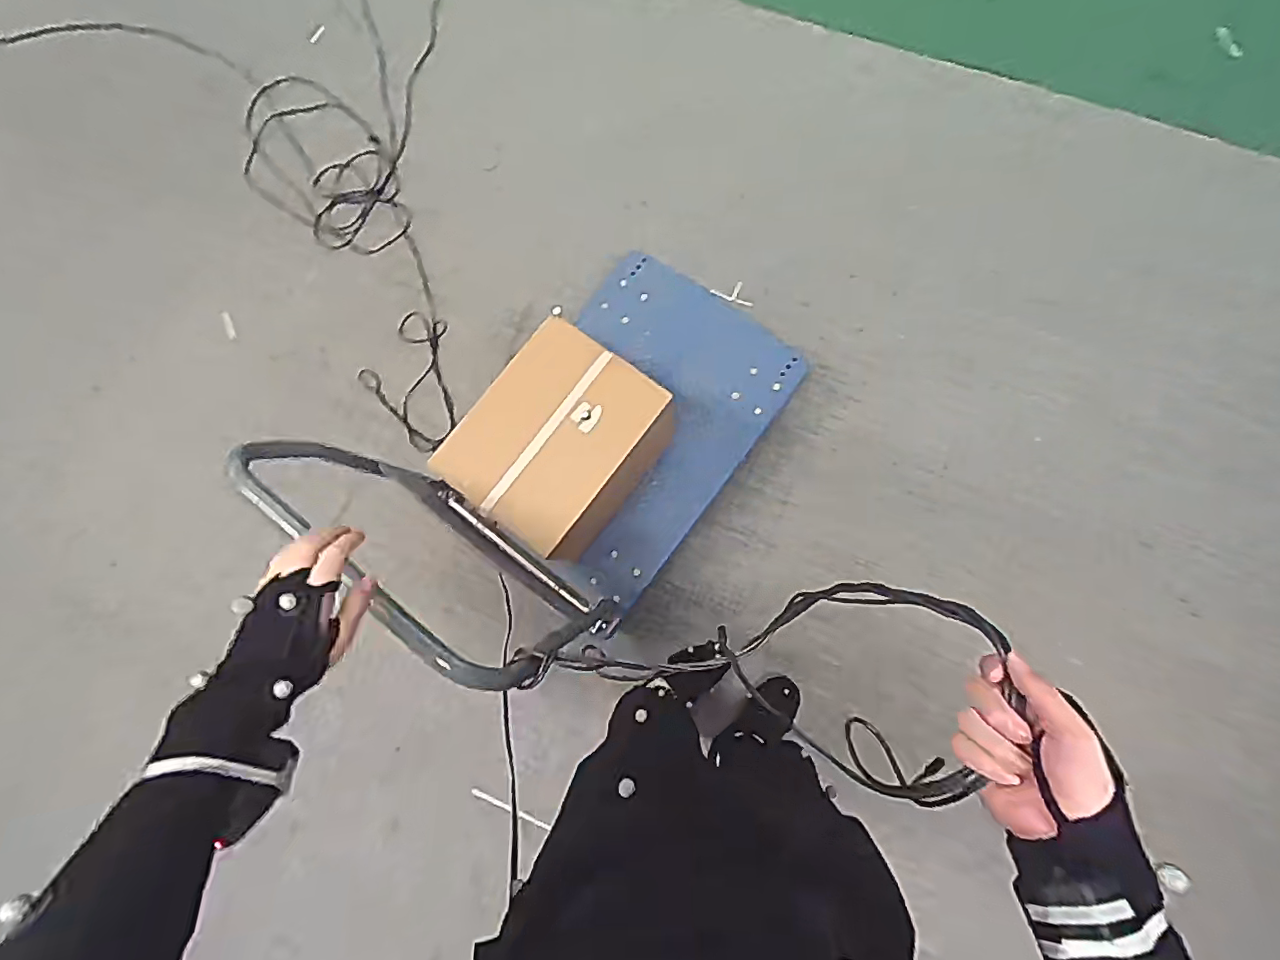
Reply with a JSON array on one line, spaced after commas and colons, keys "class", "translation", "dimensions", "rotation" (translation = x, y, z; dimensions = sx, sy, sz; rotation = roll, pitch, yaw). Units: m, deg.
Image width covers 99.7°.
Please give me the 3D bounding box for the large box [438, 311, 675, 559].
[{"class": "large box", "translation": [-0.158, -0.077, 1.213], "dimensions": [0.320, 0.320, 0.408], "rotation": [37, 83, 10]}]
